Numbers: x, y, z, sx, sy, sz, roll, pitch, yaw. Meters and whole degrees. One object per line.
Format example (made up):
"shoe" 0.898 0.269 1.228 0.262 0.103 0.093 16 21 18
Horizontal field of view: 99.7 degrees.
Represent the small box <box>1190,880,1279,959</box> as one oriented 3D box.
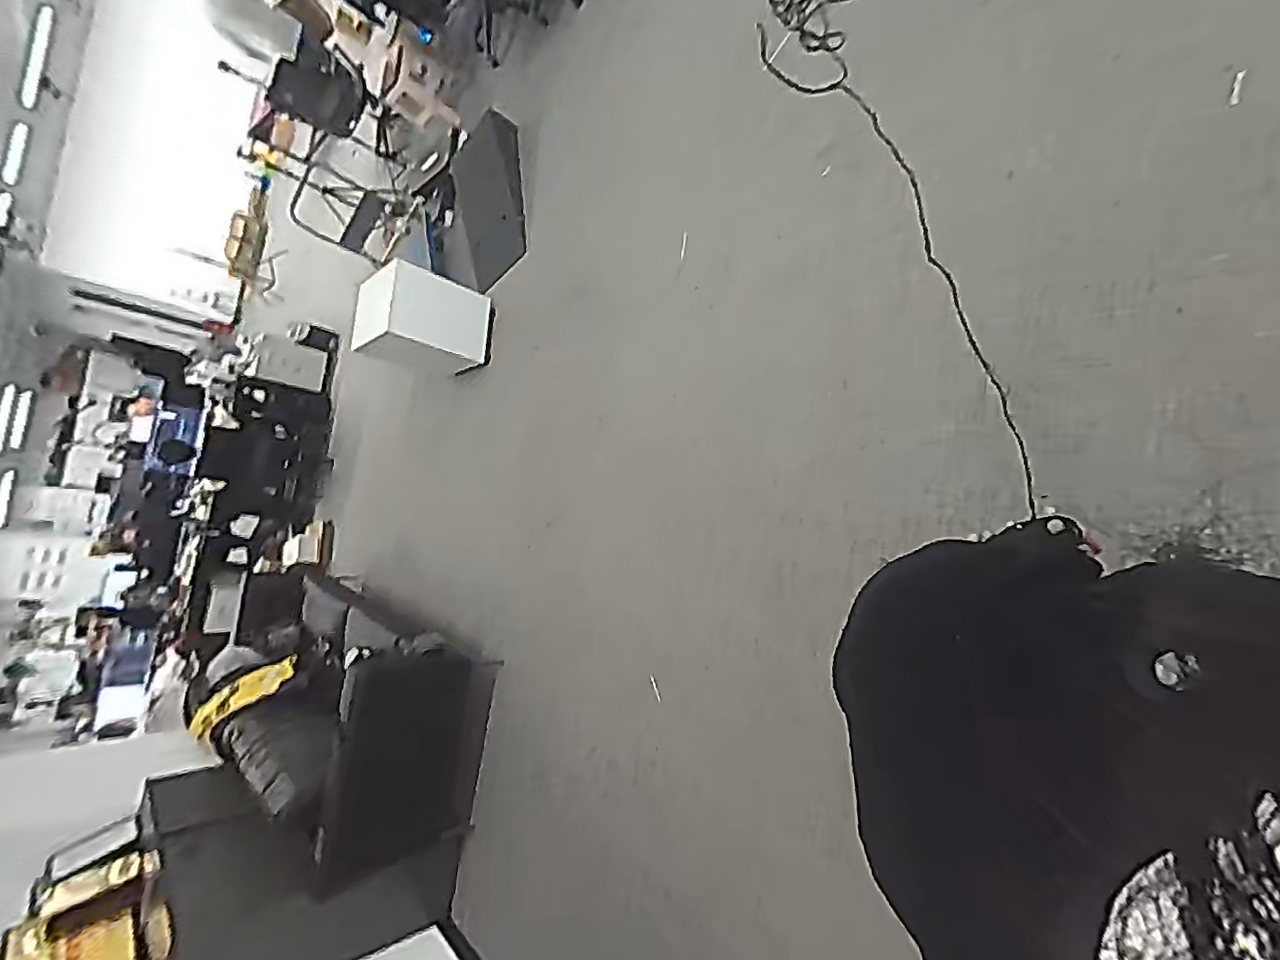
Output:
"small box" 1.048 0.822 0.892 0.168 0.176 0.179 22 96 44
